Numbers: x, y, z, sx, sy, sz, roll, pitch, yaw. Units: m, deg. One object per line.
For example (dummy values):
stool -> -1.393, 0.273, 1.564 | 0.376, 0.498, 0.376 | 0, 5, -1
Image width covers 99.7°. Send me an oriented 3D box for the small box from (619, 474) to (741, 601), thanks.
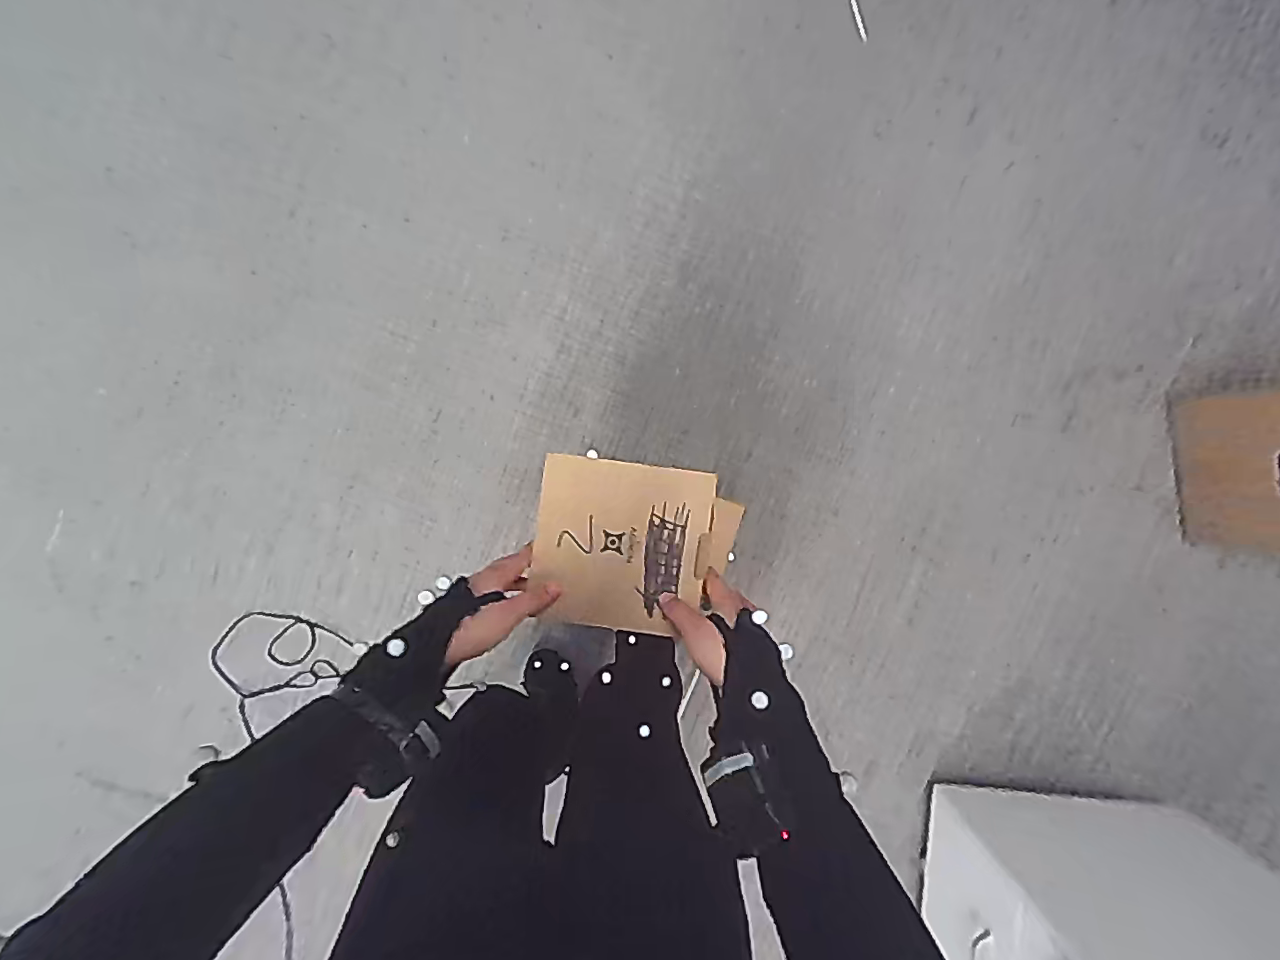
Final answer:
small box -> 0.068, 0.095, 0.978 | 0.168, 0.176, 0.179 | 17, 92, 0
